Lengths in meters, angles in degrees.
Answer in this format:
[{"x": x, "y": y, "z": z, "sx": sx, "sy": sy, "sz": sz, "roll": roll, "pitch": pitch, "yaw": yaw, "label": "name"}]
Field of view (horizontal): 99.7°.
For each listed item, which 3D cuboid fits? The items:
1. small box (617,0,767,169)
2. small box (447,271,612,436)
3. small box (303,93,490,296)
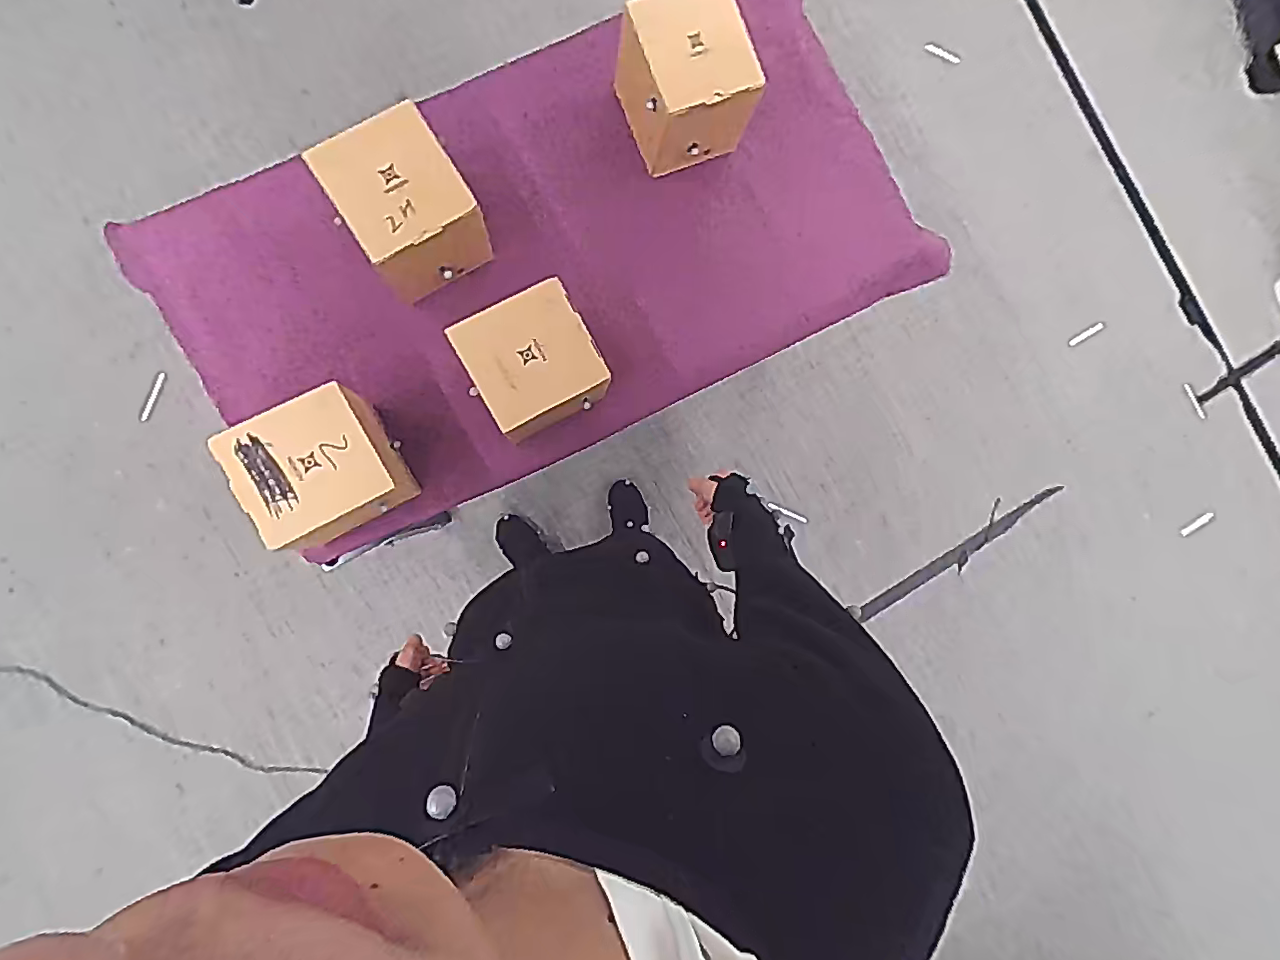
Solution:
[{"x": 0.073, "y": -0.651, "z": 0.873, "sx": 0.168, "sy": 0.176, "sz": 0.179, "roll": -23, "pitch": 93, "yaw": -7, "label": "small box"}, {"x": -0.164, "y": -0.181, "z": 0.824, "sx": 0.179, "sy": 0.176, "sz": 0.168, "roll": -29, "pitch": 92, "yaw": -9, "label": "small box"}, {"x": -0.347, "y": -0.411, "z": 0.807, "sx": 0.168, "sy": 0.176, "sz": 0.179, "roll": -33, "pitch": 93, "yaw": -7, "label": "small box"}]
